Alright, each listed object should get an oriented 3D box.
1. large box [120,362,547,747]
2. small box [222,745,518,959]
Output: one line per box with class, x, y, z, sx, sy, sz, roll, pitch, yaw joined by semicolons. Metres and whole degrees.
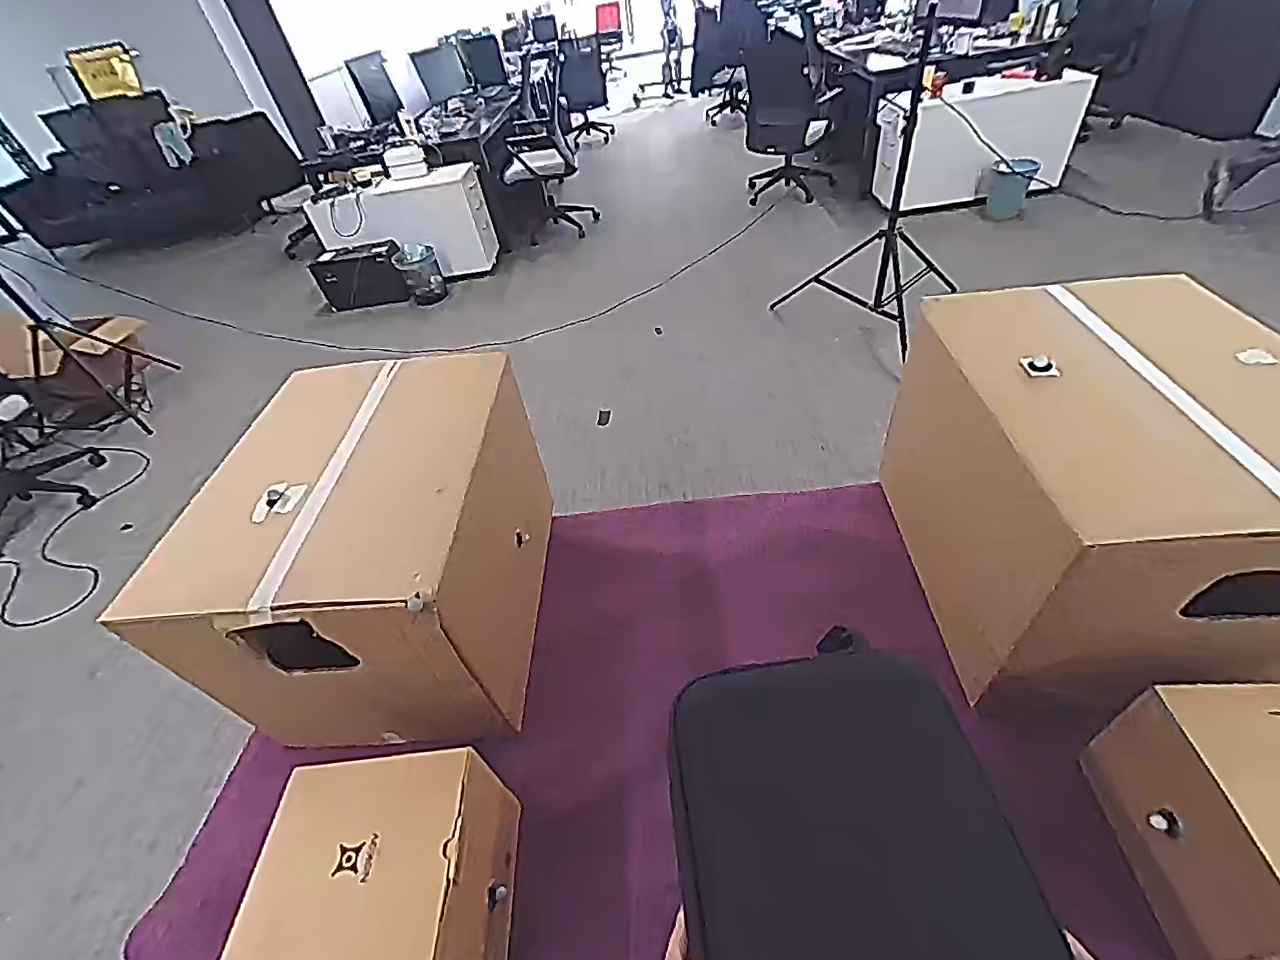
large box;-0.317;0.091;0.726;0.320;0.320;0.408;-5;46;4
small box;-0.231;0.378;0.512;0.179;0.176;0.168;-8;42;1
